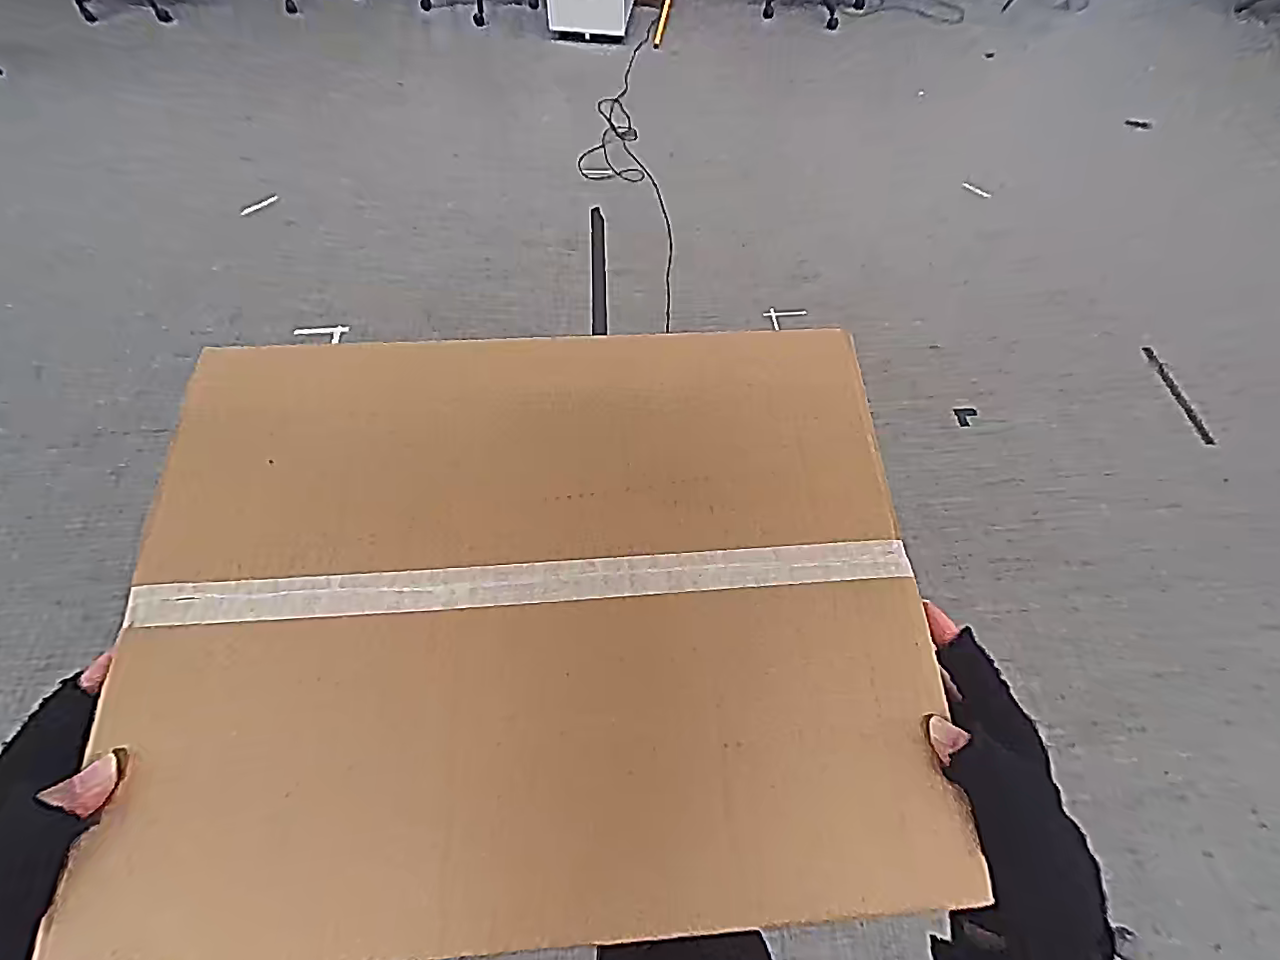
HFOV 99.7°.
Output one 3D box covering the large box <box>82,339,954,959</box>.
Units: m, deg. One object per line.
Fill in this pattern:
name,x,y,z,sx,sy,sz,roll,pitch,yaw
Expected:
large box,-0.061,0.113,0.437,0.408,0.320,0.320,-3,68,-3
